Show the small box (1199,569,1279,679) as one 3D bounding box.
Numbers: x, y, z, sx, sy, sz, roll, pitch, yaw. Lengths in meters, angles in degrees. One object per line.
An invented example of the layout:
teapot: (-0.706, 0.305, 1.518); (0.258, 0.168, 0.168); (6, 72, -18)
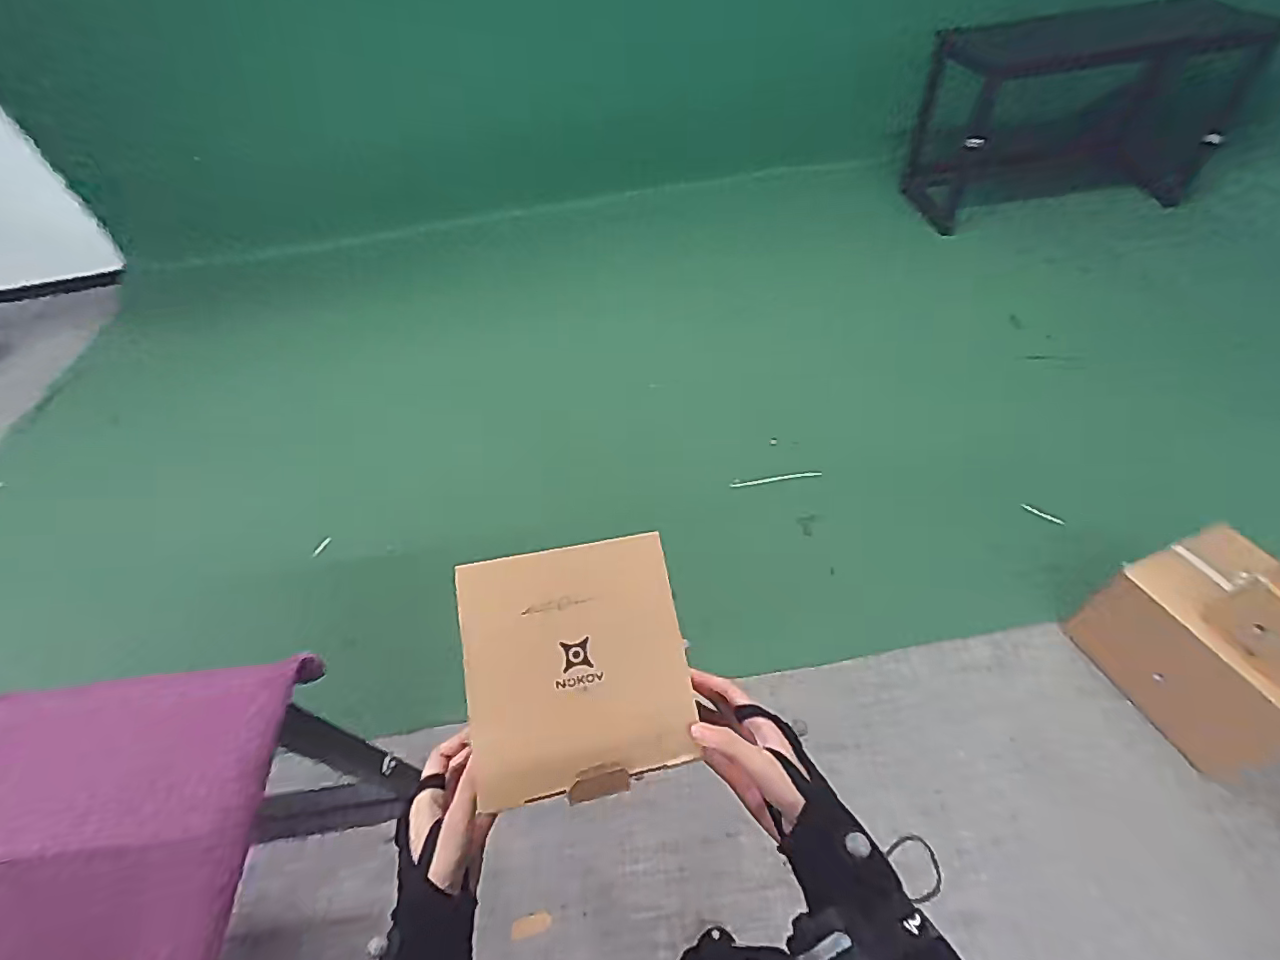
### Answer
small box: (1.274, 0.267, 1.059); (0.179, 0.176, 0.168); (-16, 51, -6)

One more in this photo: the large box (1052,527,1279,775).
large box: (1.317, 0.395, 1.268); (0.320, 0.320, 0.408); (-19, 49, -10)

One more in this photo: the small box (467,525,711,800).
small box: (-0.051, 0.152, 0.479); (0.168, 0.176, 0.179); (-7, 72, -11)
